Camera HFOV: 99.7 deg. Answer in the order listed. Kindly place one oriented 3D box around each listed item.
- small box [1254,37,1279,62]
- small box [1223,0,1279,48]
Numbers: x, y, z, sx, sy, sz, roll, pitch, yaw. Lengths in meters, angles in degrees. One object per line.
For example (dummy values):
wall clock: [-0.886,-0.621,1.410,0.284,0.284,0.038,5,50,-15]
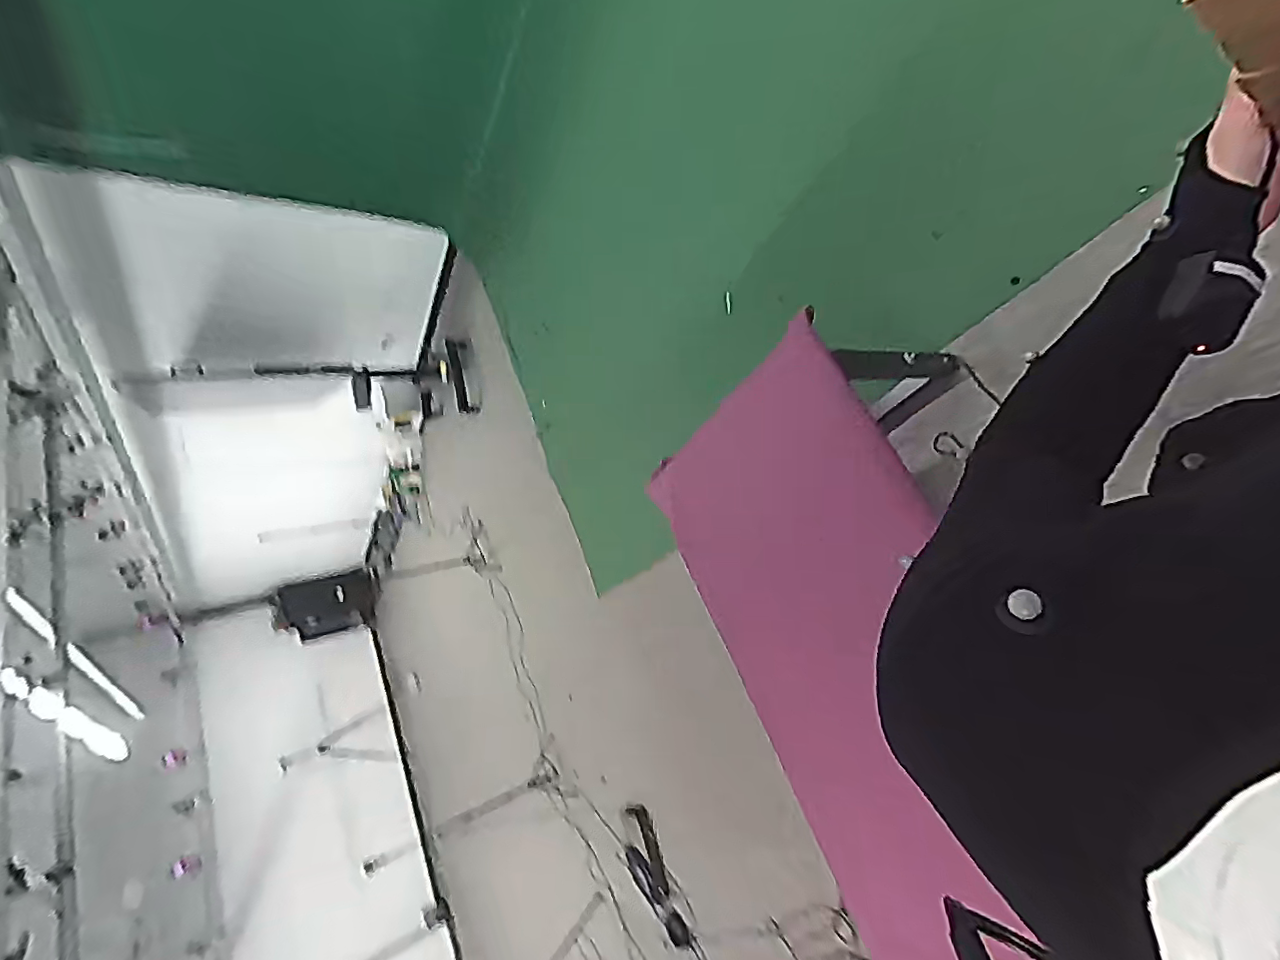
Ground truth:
small box: [0.497,-0.349,0.300,0.179,0.176,0.168,12,113,53]
small box: [0.367,-0.313,0.206,0.179,0.176,0.168,10,111,53]
